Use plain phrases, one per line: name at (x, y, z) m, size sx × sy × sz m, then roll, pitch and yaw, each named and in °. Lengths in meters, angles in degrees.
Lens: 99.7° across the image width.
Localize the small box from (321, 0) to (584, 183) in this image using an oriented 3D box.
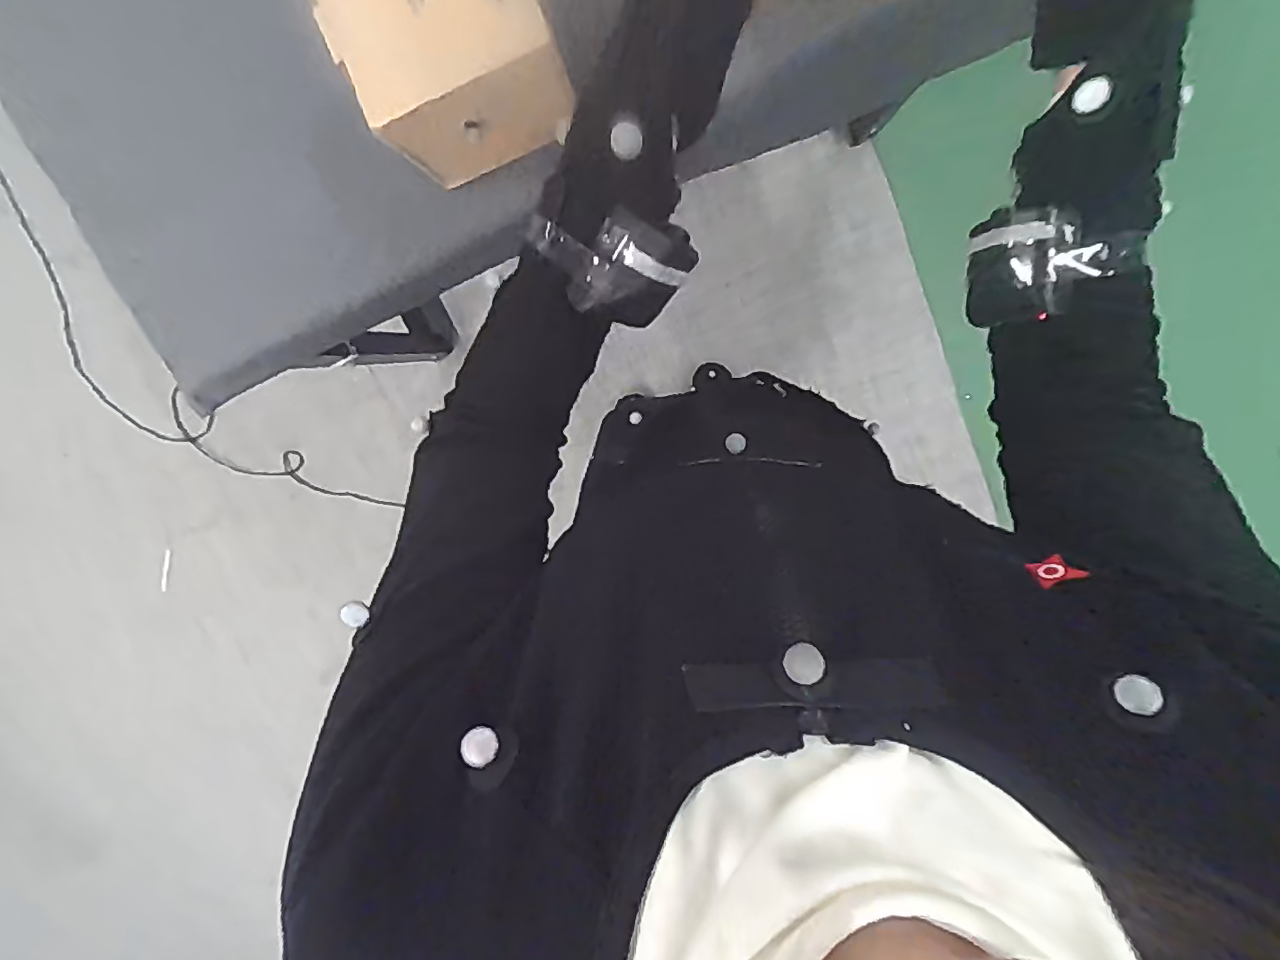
small box at (-0.174, -0.428, 0.532) m, size 0.179 × 0.176 × 0.168 m, roll -20°, pitch 100°, yaw 9°
